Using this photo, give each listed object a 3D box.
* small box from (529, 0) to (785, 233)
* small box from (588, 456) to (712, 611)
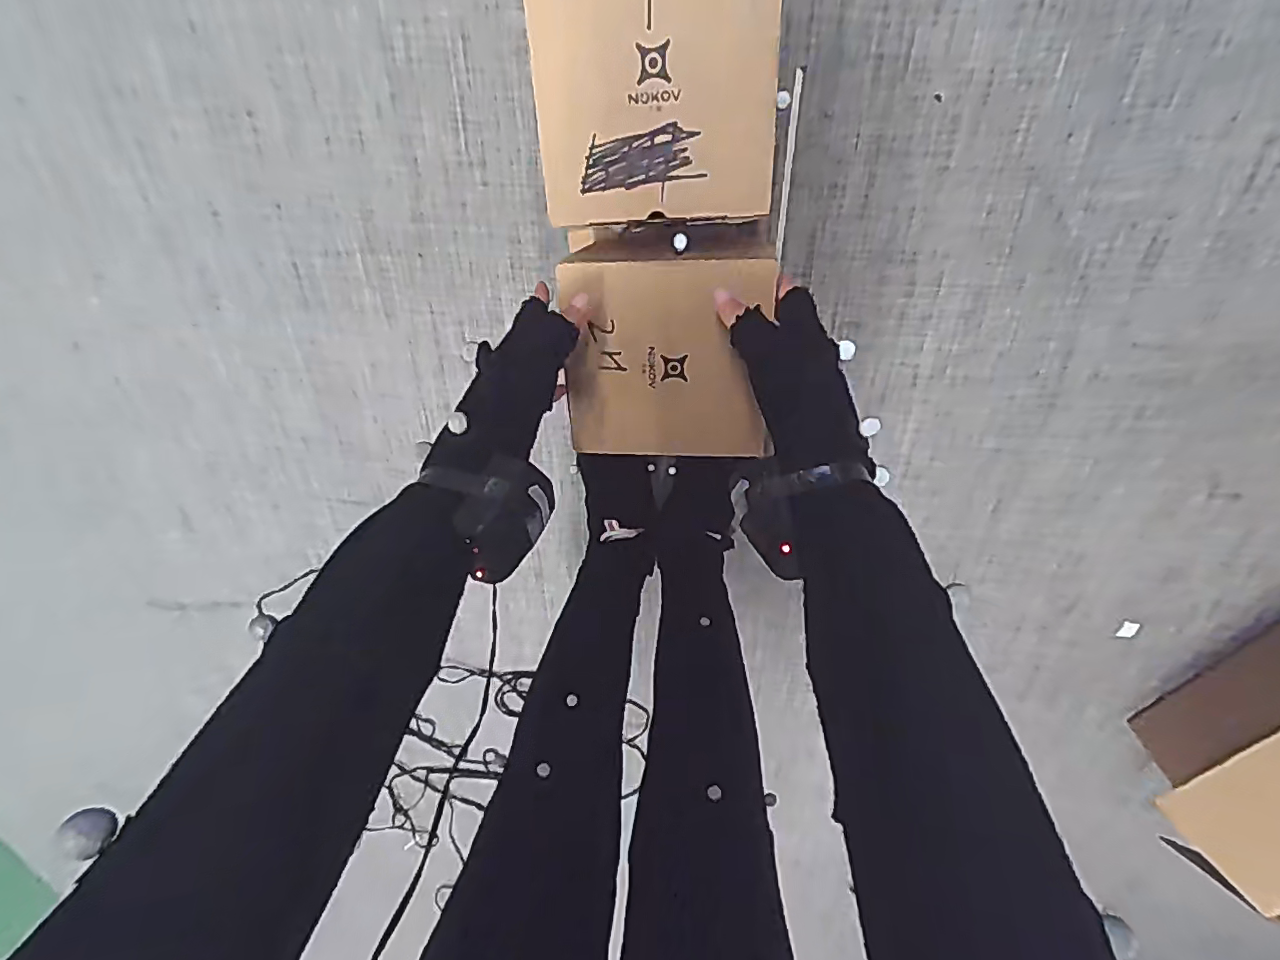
[{"bbox_3d":[0.019,-0.299,0.433,0.168,0.176,0.179,2,117,6],"label":"small box"},{"bbox_3d":[0.008,0.084,0.863,0.168,0.176,0.179,4,122,-7],"label":"small box"}]
